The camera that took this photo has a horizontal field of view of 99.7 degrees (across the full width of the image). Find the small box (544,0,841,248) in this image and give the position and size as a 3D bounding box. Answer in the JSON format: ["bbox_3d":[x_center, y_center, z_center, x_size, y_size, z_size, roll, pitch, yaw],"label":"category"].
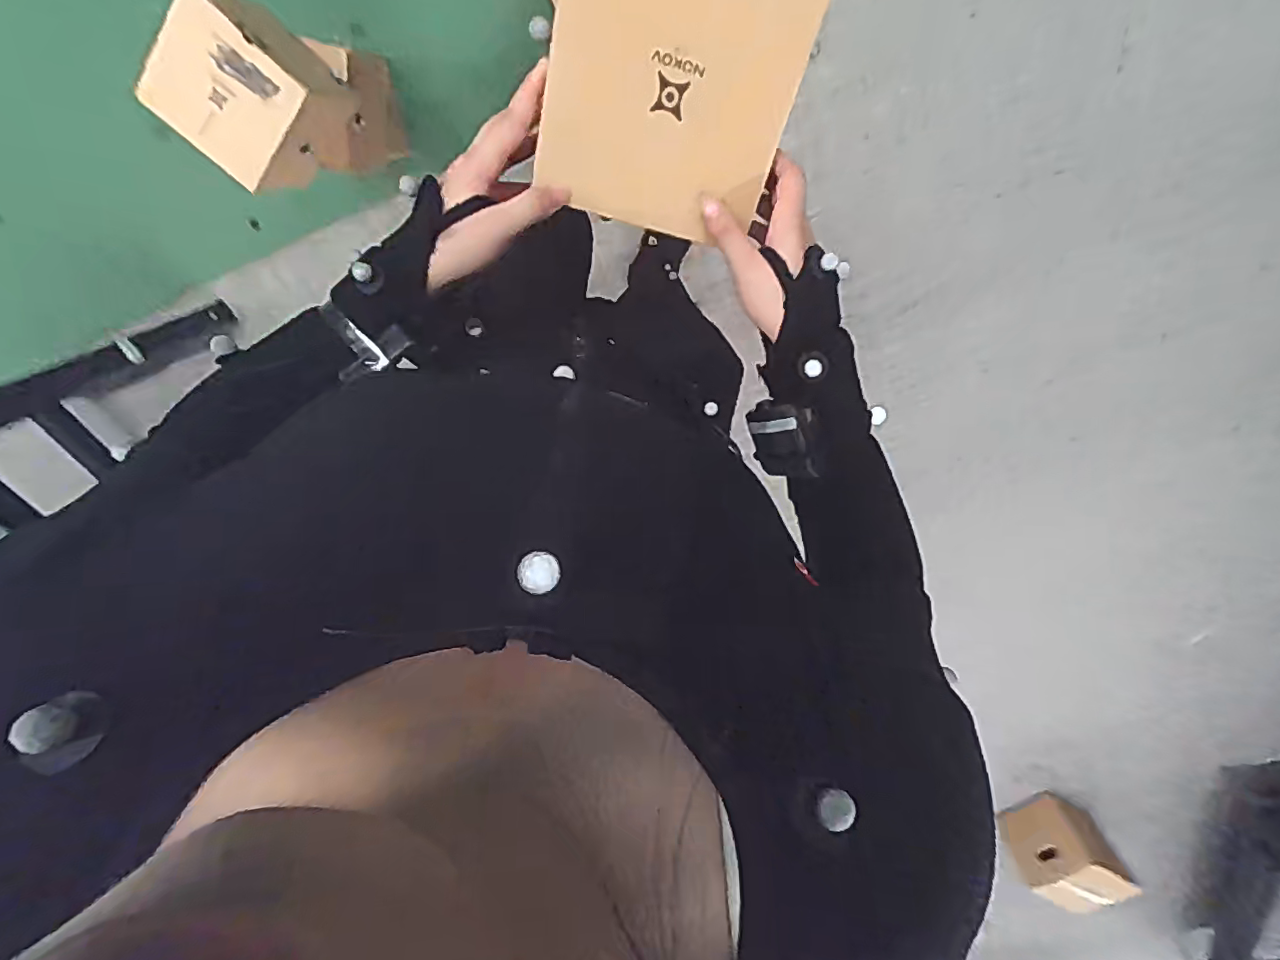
[{"bbox_3d":[0.025,-0.306,0.419,0.168,0.176,0.179,8,124,-12],"label":"small box"}]

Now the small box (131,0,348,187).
[{"bbox_3d":[-0.560,-0.566,0.784,0.179,0.176,0.168,-39,116,23],"label":"small box"}]

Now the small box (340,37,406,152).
[{"bbox_3d":[-0.586,-0.741,1.060,0.168,0.176,0.179,-5,122,1],"label":"small box"}]

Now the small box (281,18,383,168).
[{"bbox_3d":[-0.553,-0.658,0.921,0.168,0.176,0.179,13,121,-10],"label":"small box"}]
